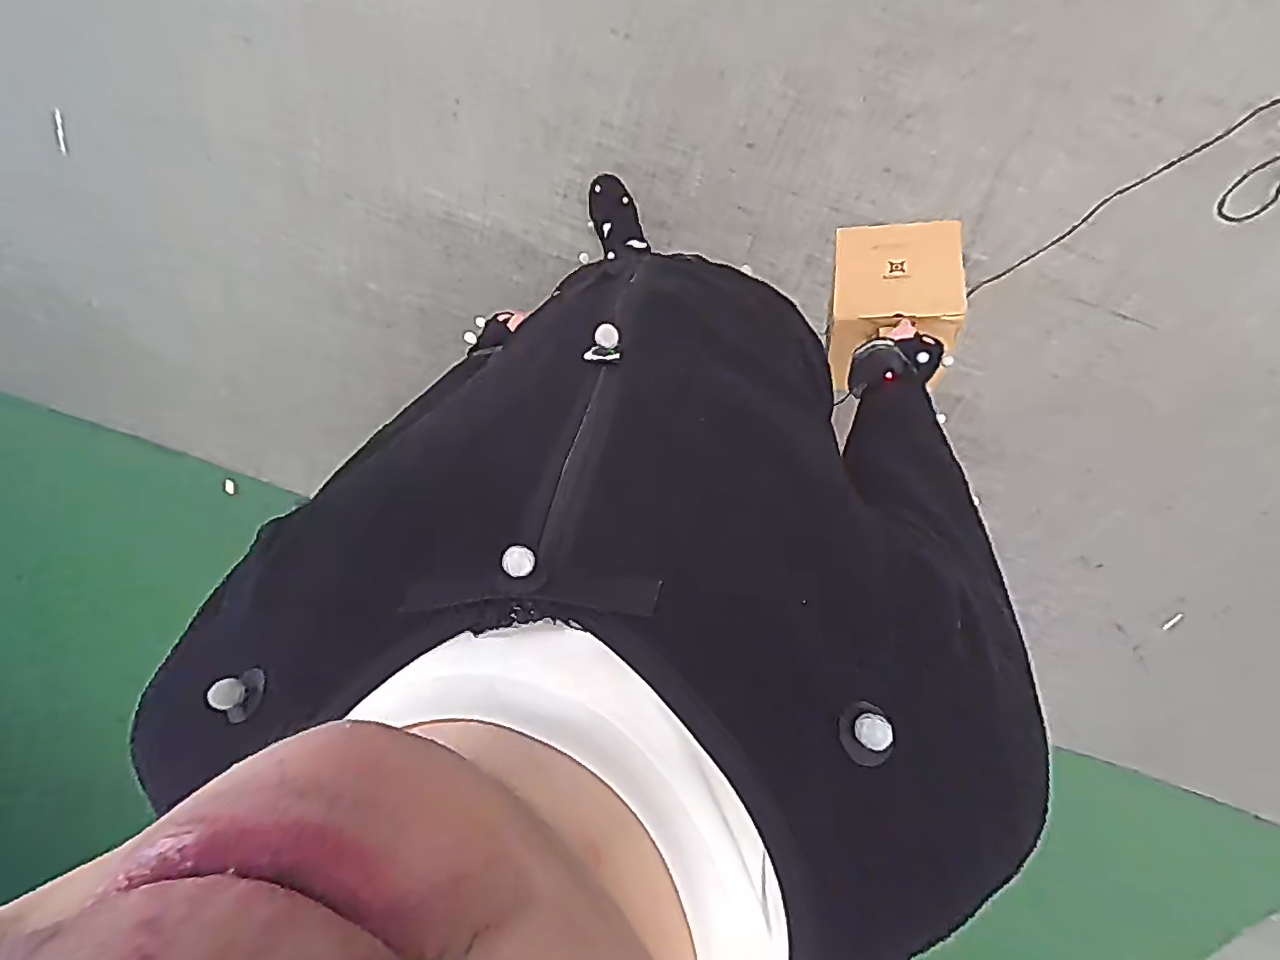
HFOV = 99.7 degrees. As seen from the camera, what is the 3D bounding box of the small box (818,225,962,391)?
[{"bbox_3d":[0.363,-0.250,0.813,0.168,0.179,0.176,4,154,14],"label":"small box"}]
